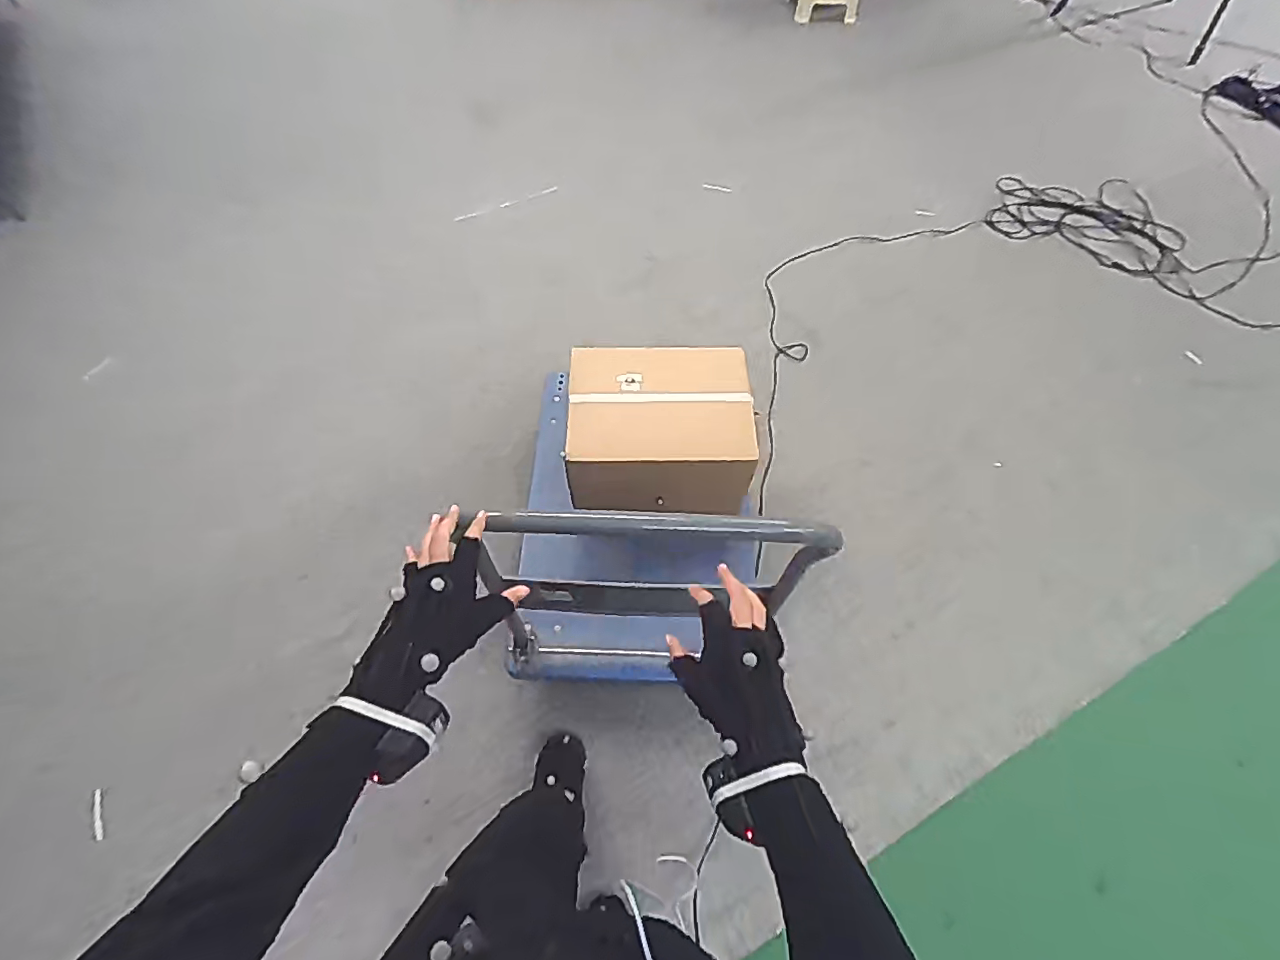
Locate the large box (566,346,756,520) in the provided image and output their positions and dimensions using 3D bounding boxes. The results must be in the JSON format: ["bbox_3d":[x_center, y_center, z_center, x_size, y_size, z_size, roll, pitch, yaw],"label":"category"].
[{"bbox_3d":[0.044,-0.104,1.324,0.408,0.320,0.320,-1,60,0],"label":"large box"}]
